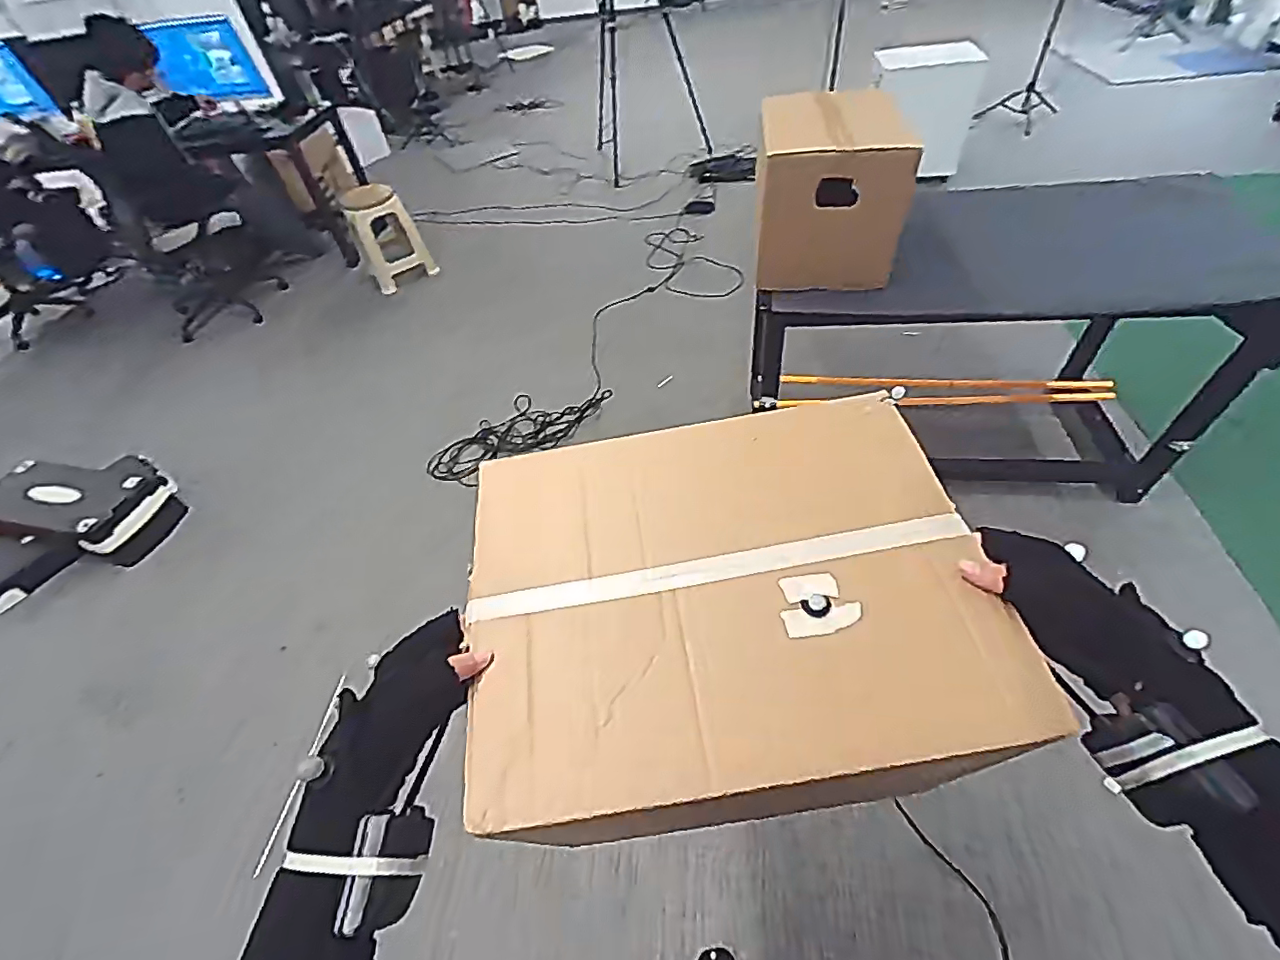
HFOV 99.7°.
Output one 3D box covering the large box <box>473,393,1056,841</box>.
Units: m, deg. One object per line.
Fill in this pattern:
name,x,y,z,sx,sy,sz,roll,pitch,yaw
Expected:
large box,0.076,0.155,0.562,0.408,0.320,0.320,-9,55,0
